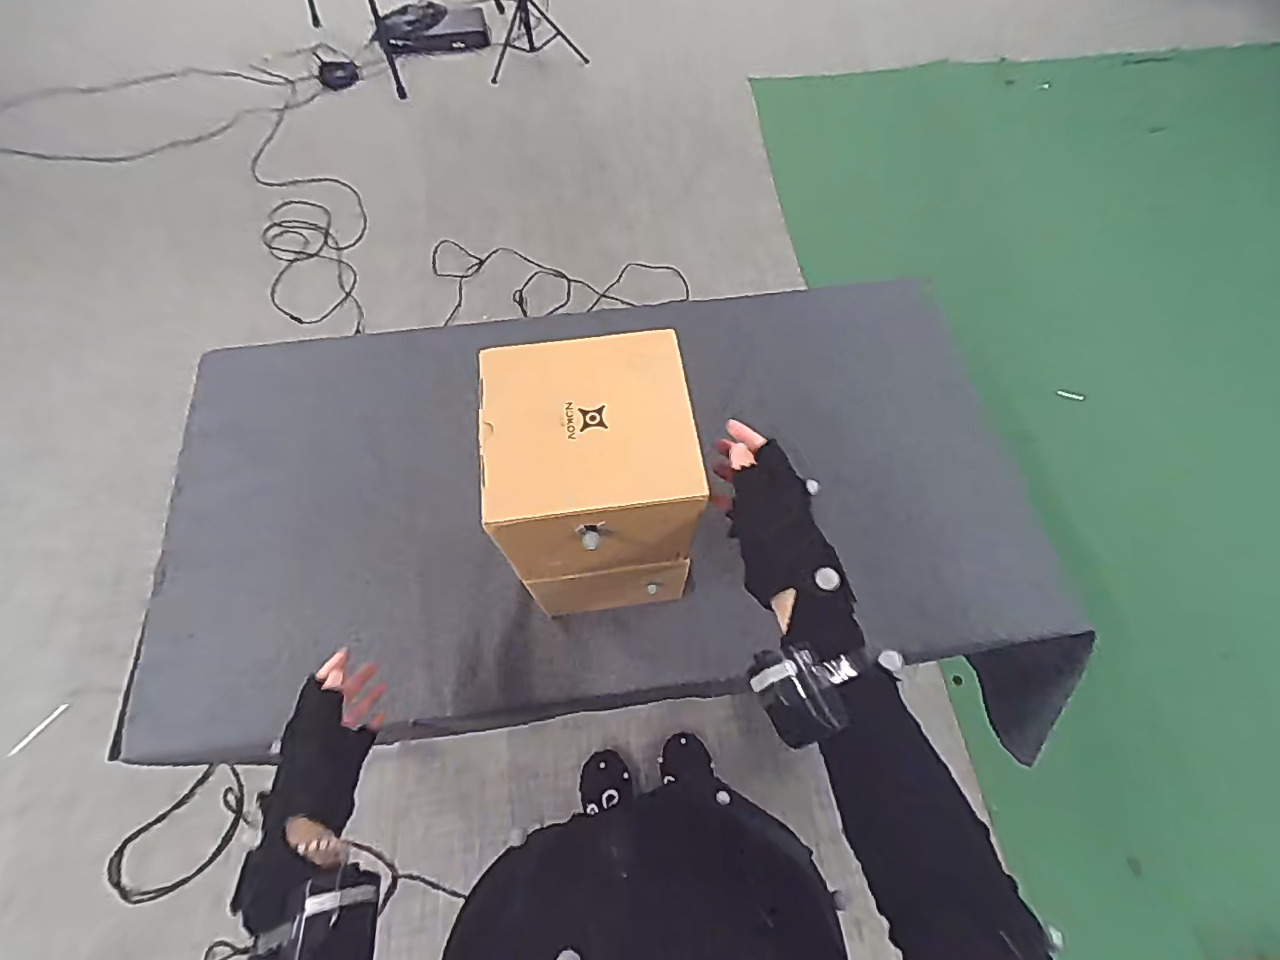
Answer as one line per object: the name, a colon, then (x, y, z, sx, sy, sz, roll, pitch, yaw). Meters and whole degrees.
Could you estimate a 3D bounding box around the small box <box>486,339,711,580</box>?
small box: (-0.041, -0.011, 0.521, 0.179, 0.176, 0.168, -7, 65, -3)
